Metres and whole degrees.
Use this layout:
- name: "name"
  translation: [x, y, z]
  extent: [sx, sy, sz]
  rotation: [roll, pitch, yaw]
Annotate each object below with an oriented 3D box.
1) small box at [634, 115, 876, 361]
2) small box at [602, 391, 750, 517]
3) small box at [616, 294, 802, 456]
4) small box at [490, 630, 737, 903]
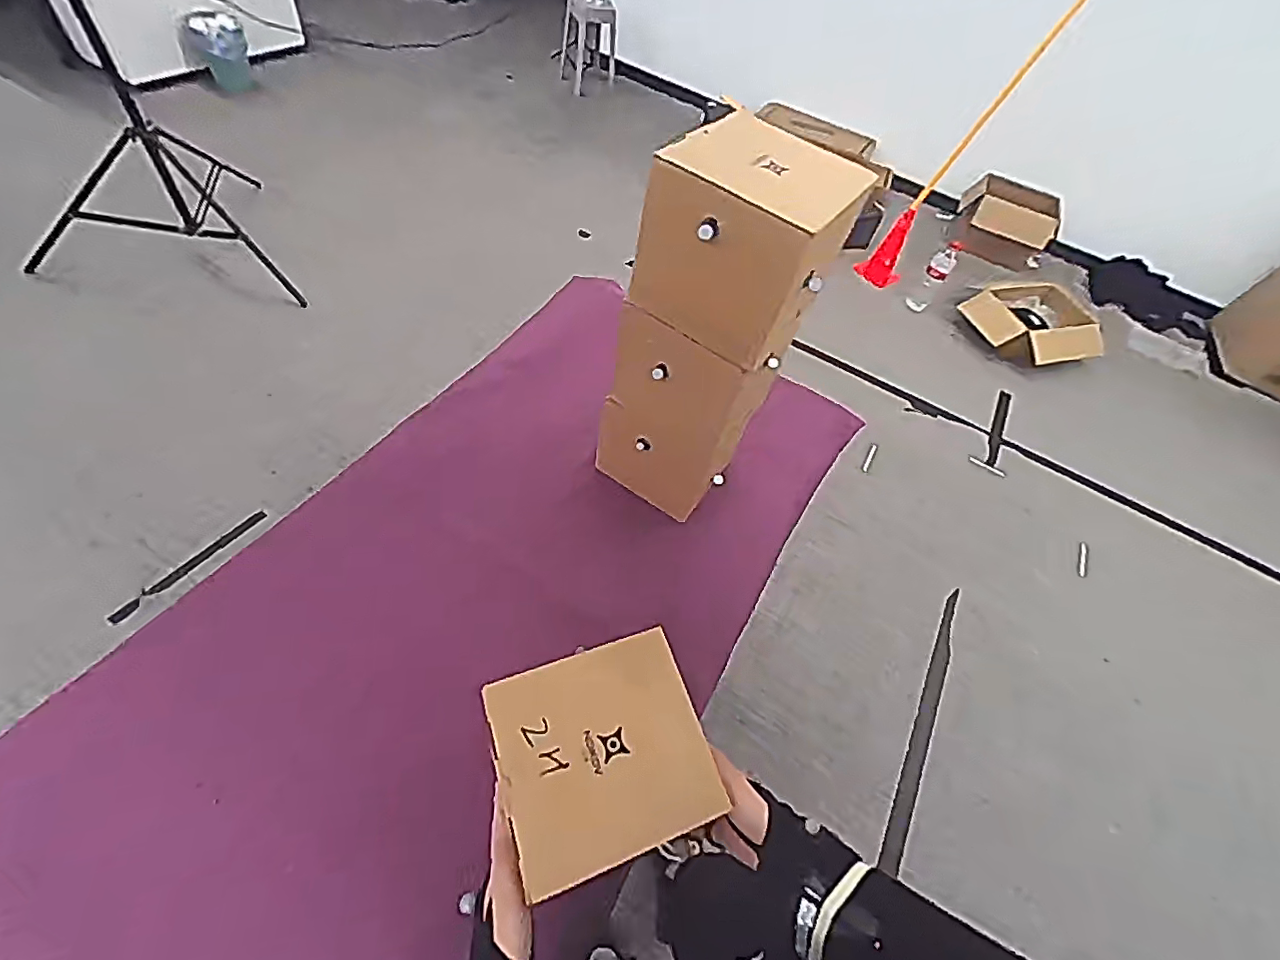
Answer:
- name: "small box"
  translation: [0.114, -0.256, 0.591]
  extent: [0.179, 0.176, 0.168]
  rotation: [34, 56, 14]
- name: "small box"
  translation: [0.055, -0.071, 0.855]
  extent: [0.179, 0.176, 0.168]
  rotation: [33, 56, 13]
- name: "small box"
  translation: [0.084, -0.164, 0.724]
  extent: [0.179, 0.176, 0.168]
  rotation: [34, 56, 15]
- name: "small box"
  translation: [-0.036, 0.270, 0.526]
  extent: [0.179, 0.176, 0.168]
  rotation: [-14, 60, -17]
